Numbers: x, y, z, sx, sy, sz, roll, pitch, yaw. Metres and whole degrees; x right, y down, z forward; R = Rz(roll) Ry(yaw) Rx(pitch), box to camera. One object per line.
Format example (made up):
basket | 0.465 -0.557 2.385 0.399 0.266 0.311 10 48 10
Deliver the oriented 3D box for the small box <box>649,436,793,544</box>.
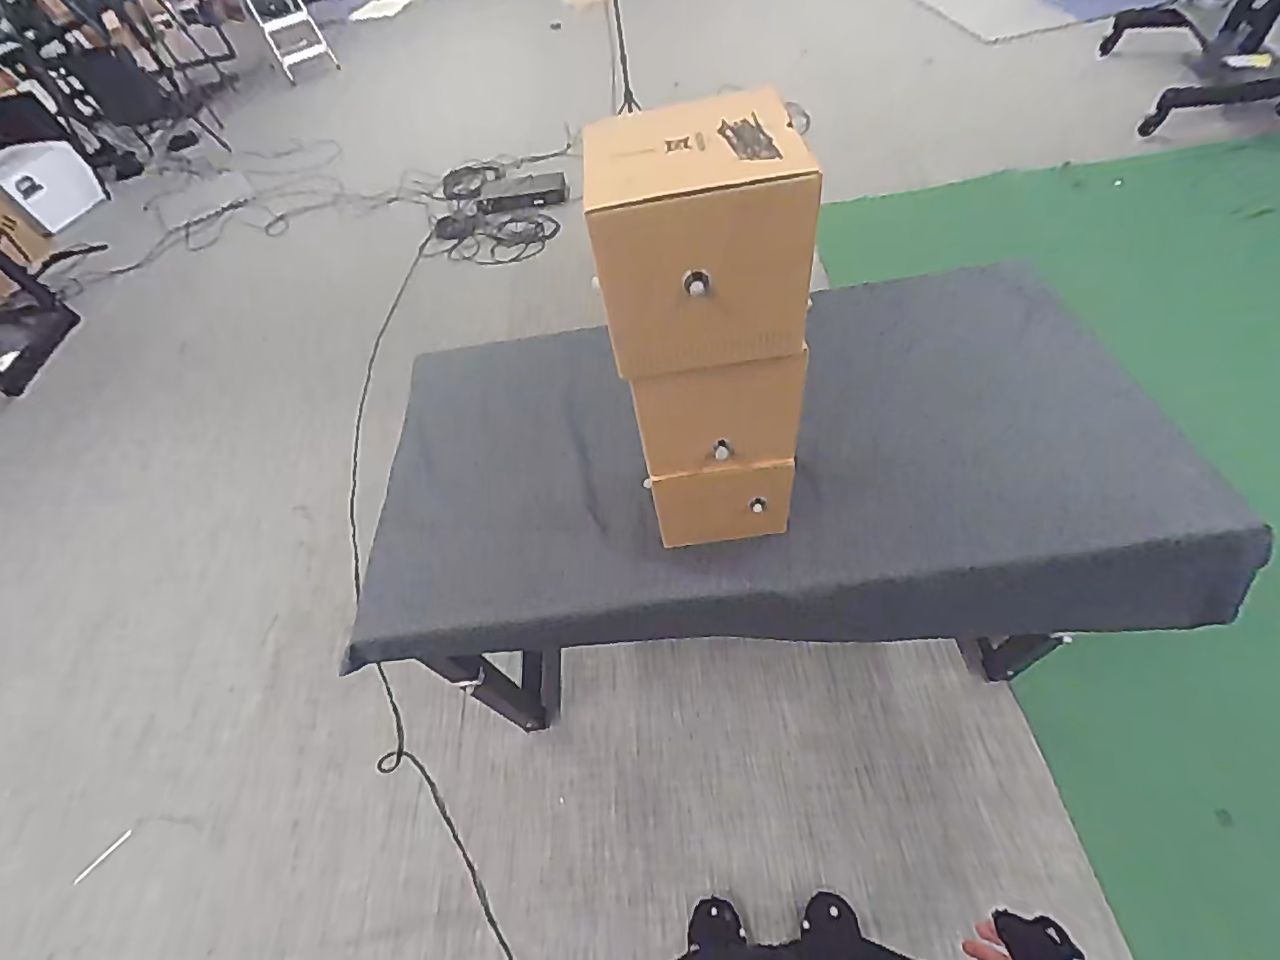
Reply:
small box | 0.105 -0.028 0.762 0.179 0.176 0.168 -9 52 5

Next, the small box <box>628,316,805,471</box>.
small box | 0.080 -0.129 0.636 0.179 0.176 0.168 -8 53 4

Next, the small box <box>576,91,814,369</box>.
small box | 0.049 -0.224 0.502 0.179 0.176 0.168 -5 52 6
